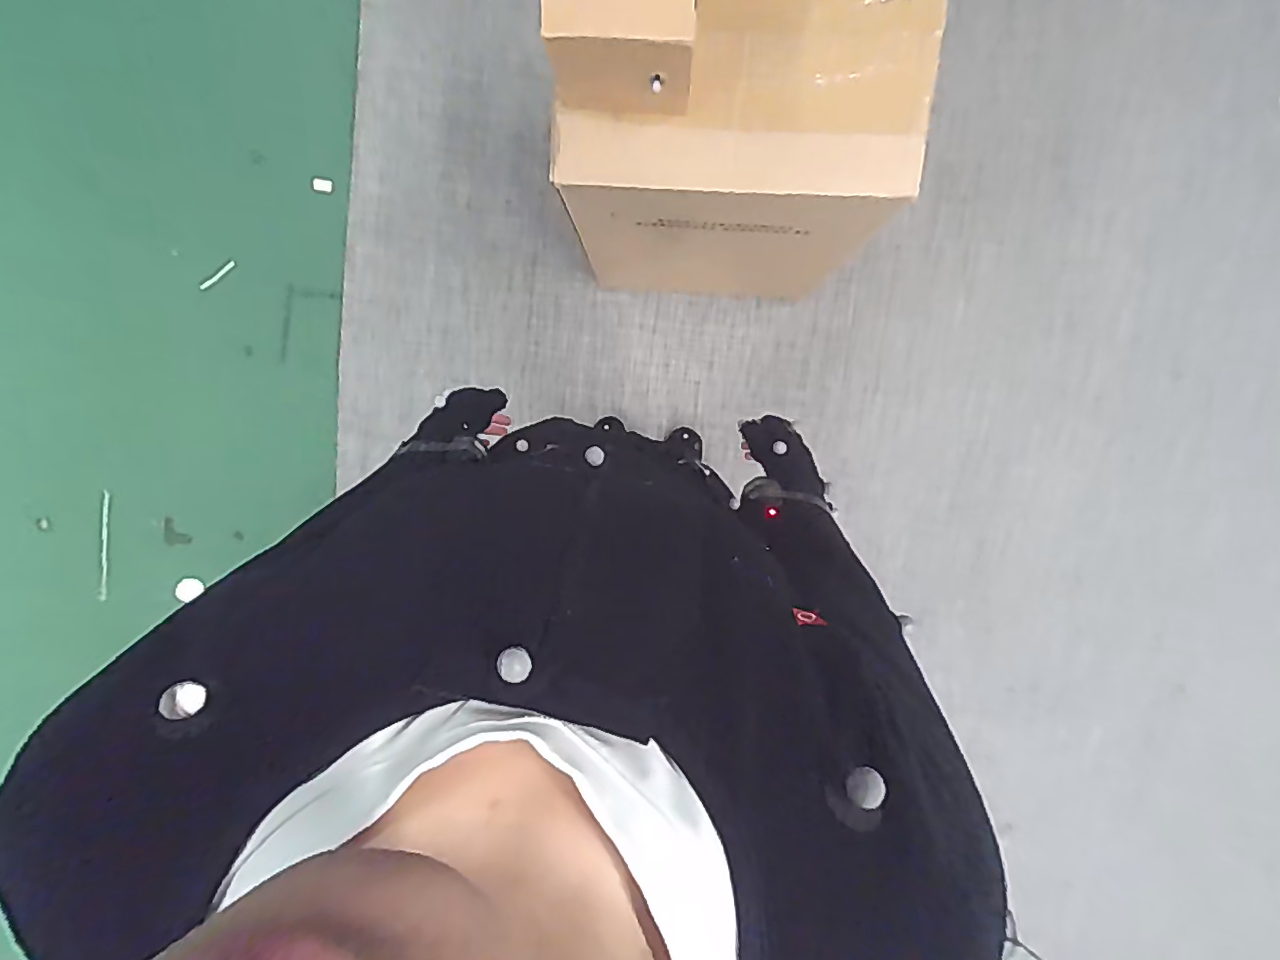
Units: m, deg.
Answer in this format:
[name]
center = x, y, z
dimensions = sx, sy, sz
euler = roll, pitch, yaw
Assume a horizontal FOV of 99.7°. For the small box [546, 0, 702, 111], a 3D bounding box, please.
[small box]
center = -0.013, -0.590, 0.673
dimensions = 0.179, 0.176, 0.168
euler = 3, 100, 3
